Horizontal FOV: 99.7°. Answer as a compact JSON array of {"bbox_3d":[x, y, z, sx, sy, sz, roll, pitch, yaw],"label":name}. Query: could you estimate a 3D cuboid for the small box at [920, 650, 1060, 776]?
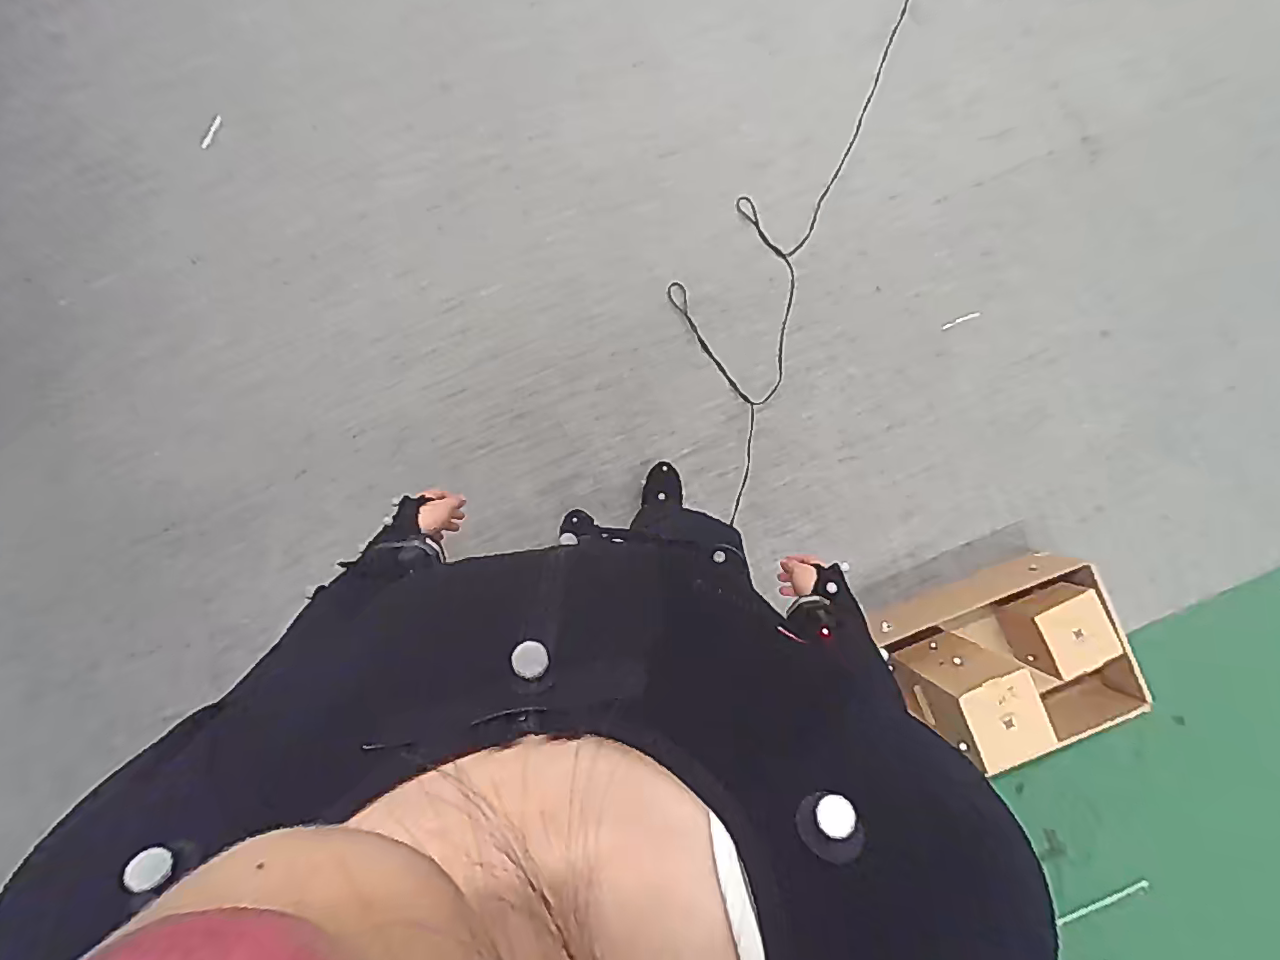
[{"bbox_3d":[0.766,0.507,1.201,0.168,0.176,0.179,-22,89,-2],"label":"small box"}]
